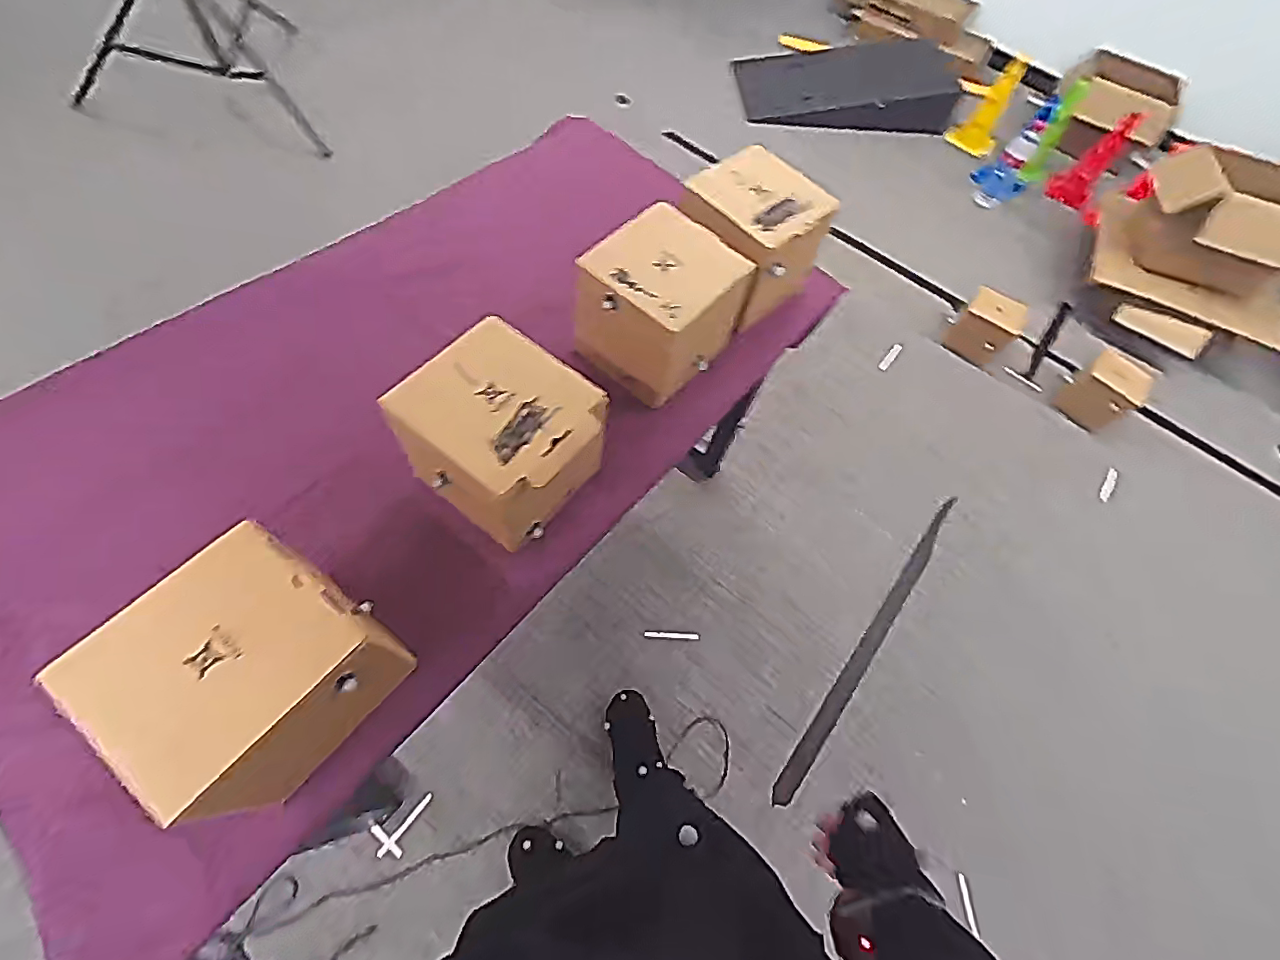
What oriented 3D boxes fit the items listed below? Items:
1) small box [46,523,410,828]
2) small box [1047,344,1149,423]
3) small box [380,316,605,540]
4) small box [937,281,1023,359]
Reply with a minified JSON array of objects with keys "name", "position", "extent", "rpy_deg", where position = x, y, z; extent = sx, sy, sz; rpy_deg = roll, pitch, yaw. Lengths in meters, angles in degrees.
[{"name":"small box","position":[-0.348,0.178,0.501],"extent":[0.168,0.176,0.179],"rpy_deg":[37,64,11]},{"name":"small box","position":[1.551,-0.319,1.837],"extent":[0.179,0.176,0.168],"rpy_deg":[42,65,12]},{"name":"small box","position":[-0.161,-0.049,0.640],"extent":[0.179,0.176,0.168],"rpy_deg":[36,64,11]},{"name":"small box","position":[1.197,-0.558,1.909],"extent":[0.179,0.176,0.168],"rpy_deg":[32,63,10]}]
